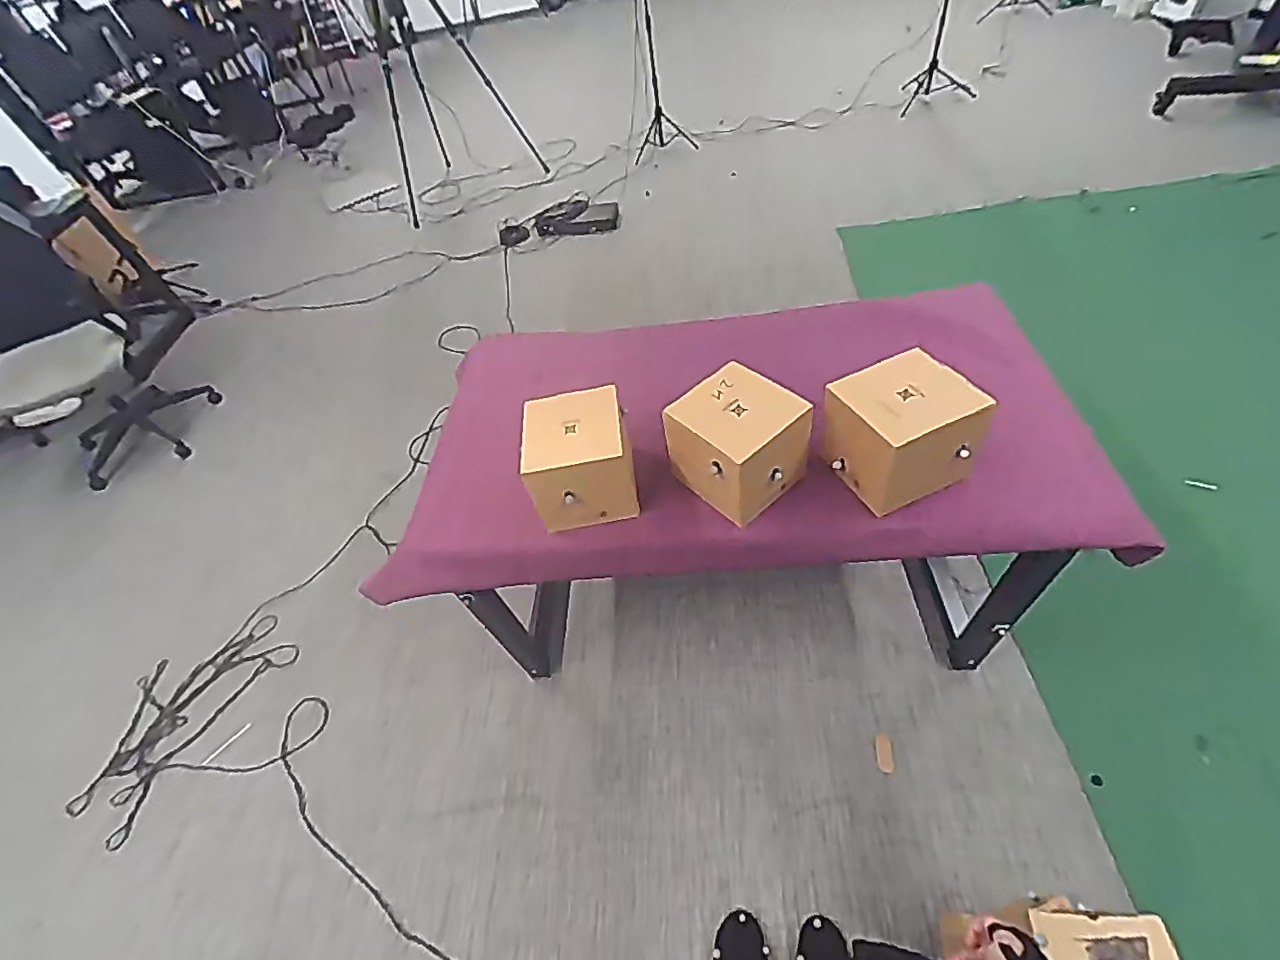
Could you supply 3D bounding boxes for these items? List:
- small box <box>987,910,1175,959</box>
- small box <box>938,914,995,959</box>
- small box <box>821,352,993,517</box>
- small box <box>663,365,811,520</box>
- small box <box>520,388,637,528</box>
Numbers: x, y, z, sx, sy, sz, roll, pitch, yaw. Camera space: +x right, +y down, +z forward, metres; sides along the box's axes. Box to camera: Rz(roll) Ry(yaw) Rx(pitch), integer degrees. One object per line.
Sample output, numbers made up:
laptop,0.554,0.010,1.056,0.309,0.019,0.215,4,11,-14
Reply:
small box,0.606,0.700,0.731,0.168,0.176,0.179,-3,52,8
small box,0.656,0.911,0.978,0.179,0.176,0.168,3,52,14
small box,0.416,-0.072,0.880,0.179,0.176,0.168,-23,48,-7
small box,0.163,-0.056,0.916,0.168,0.176,0.179,-36,53,-19
small box,-0.103,-0.031,0.951,0.168,0.176,0.179,-10,48,3
